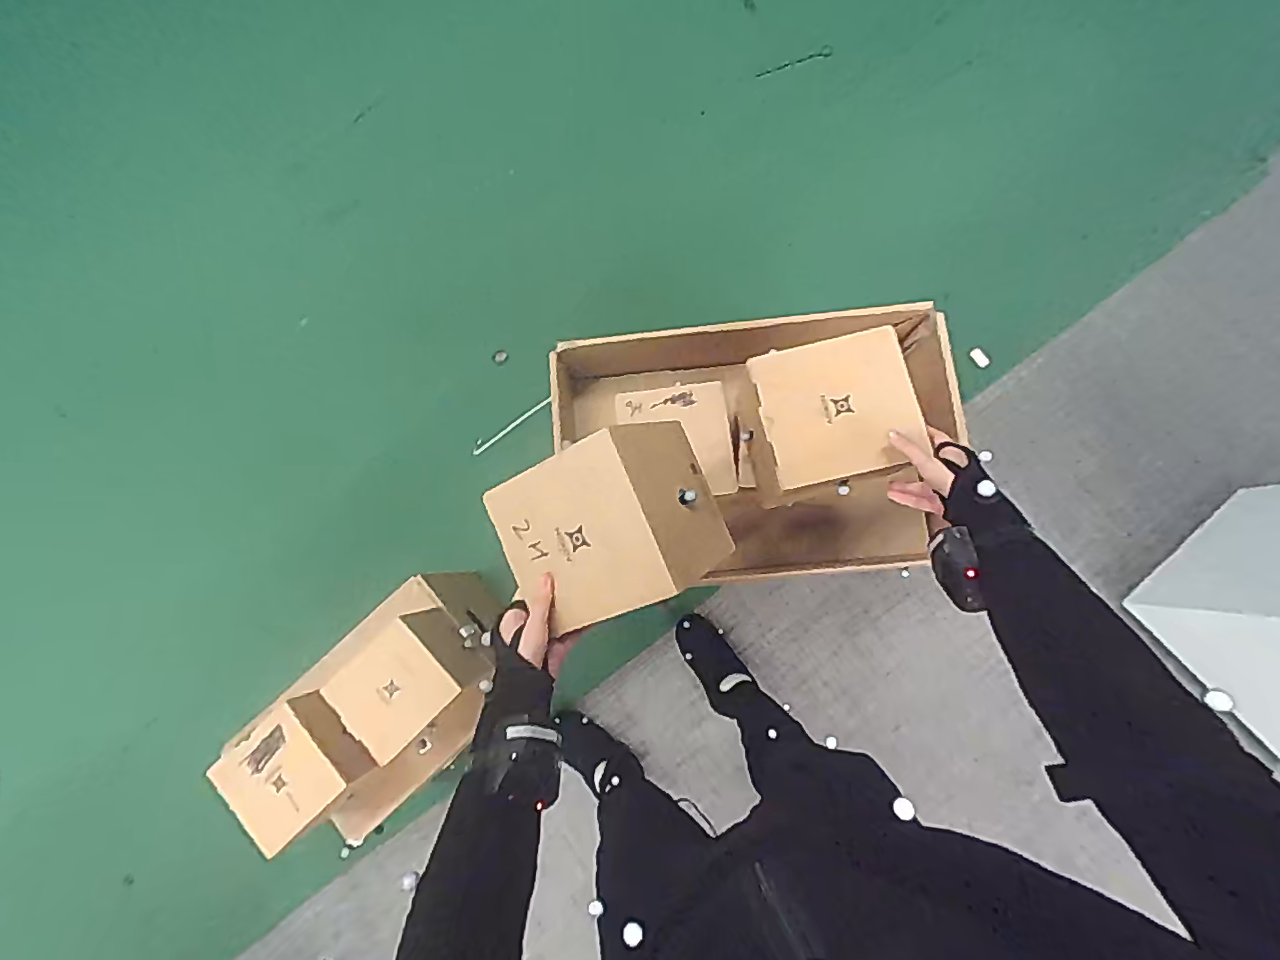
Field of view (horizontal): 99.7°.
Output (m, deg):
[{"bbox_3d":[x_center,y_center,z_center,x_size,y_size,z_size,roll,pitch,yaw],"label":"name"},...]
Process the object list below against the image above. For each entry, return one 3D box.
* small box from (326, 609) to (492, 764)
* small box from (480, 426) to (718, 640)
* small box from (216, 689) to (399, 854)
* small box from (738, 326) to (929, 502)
[{"bbox_3d":[-0.393,0.349,0.953,0.179,0.176,0.168,-44,82,-4],"label":"small box"},{"bbox_3d":[-0.032,0.049,0.593,0.179,0.176,0.168,-26,85,29],"label":"small box"},{"bbox_3d":[-0.565,0.485,0.942,0.168,0.176,0.179,-43,81,-3],"label":"small box"},{"bbox_3d":[0.235,-0.074,0.706,0.179,0.176,0.168,-13,80,5],"label":"small box"}]
